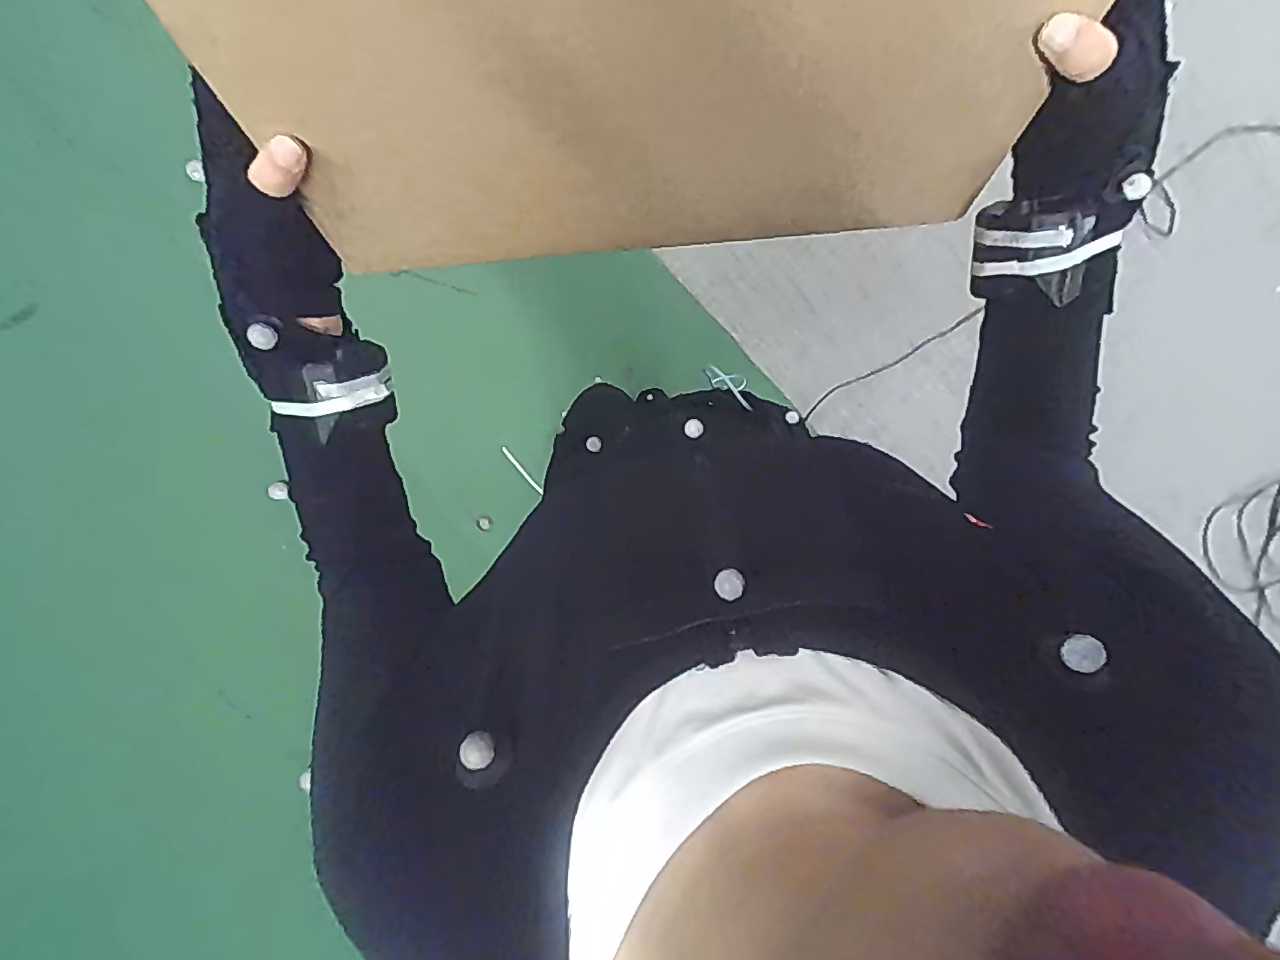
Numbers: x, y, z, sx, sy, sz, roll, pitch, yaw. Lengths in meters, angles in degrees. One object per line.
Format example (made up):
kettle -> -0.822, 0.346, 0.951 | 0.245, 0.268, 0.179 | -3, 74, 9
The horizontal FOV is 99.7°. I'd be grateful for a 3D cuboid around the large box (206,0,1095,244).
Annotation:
large box -> 0.004, -0.355, 0.262 | 0.408, 0.320, 0.320 | -4, 72, -3
